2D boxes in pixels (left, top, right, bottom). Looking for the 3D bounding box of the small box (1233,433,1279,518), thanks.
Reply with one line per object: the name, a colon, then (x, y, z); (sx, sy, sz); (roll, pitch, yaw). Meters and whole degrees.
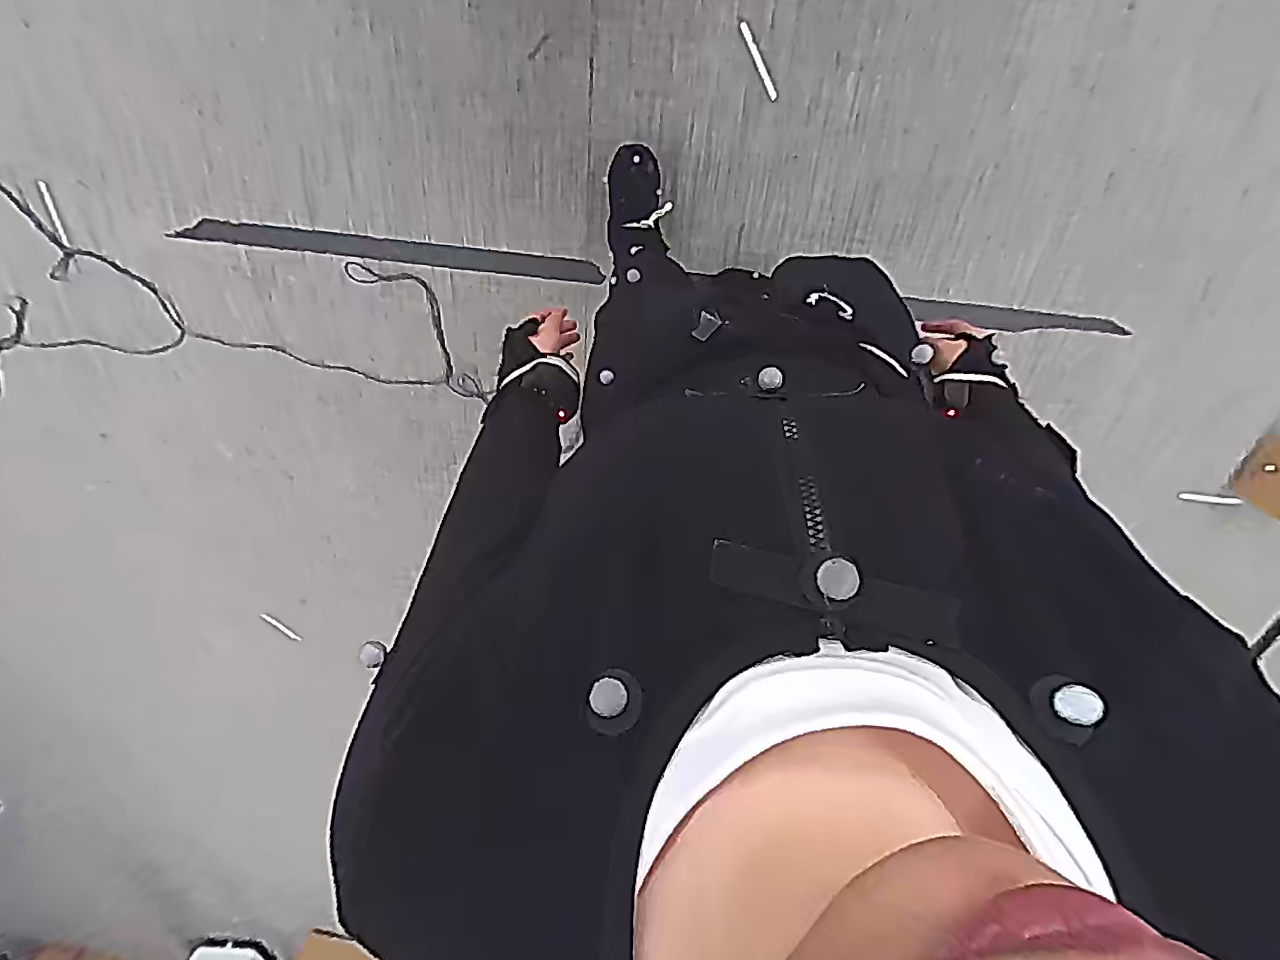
small box: (1.587, 0.000, 1.264); (0.179, 0.176, 0.168); (7, 121, 2)
